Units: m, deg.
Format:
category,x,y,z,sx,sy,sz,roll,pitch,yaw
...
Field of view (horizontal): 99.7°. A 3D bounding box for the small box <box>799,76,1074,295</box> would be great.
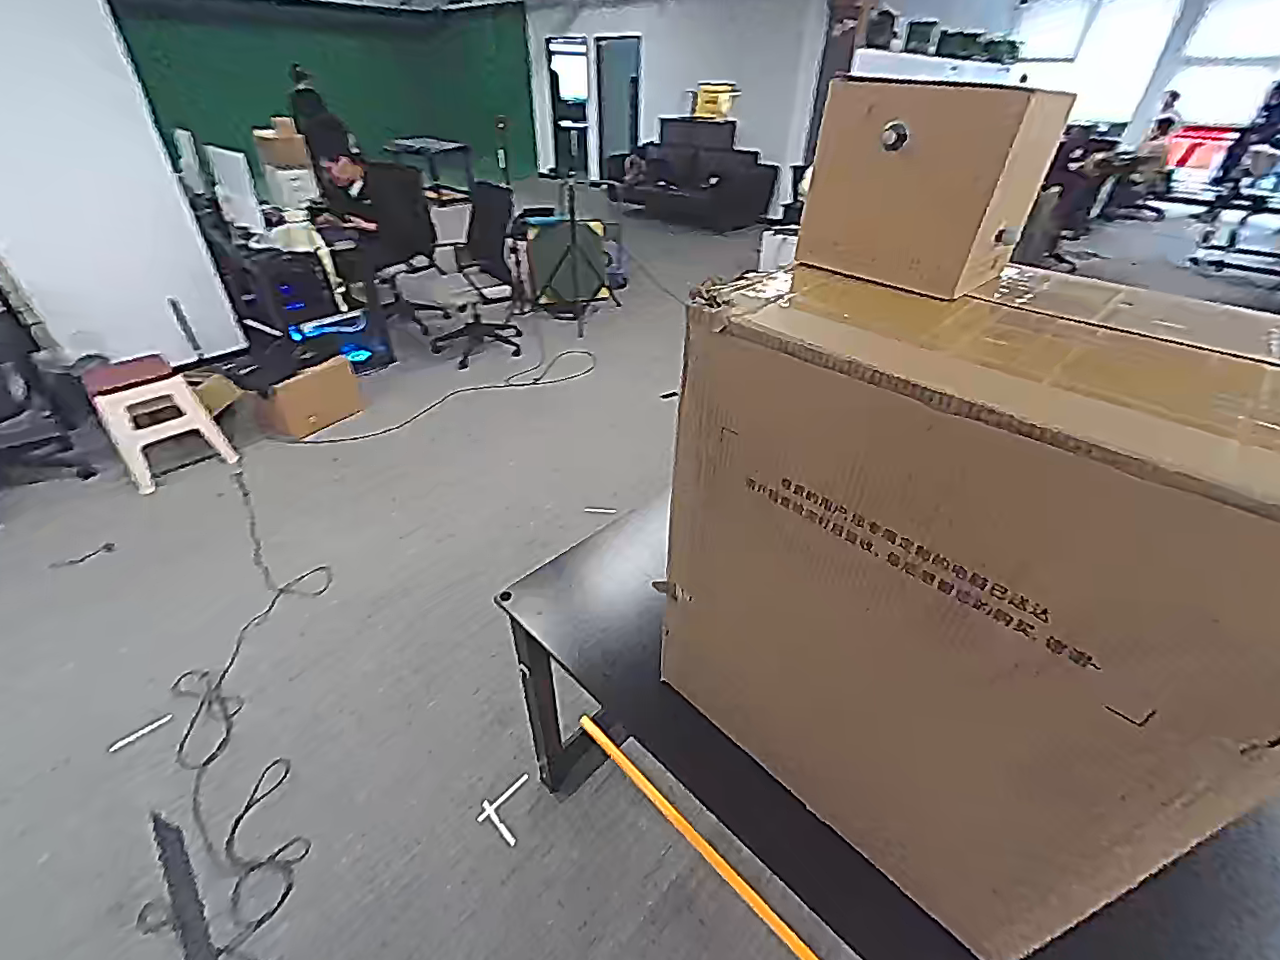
category,x,y,z,sx,sy,sz,roll,pitch,yaw
small box,0.290,-0.302,0.556,0.179,0.176,0.168,32,44,32
